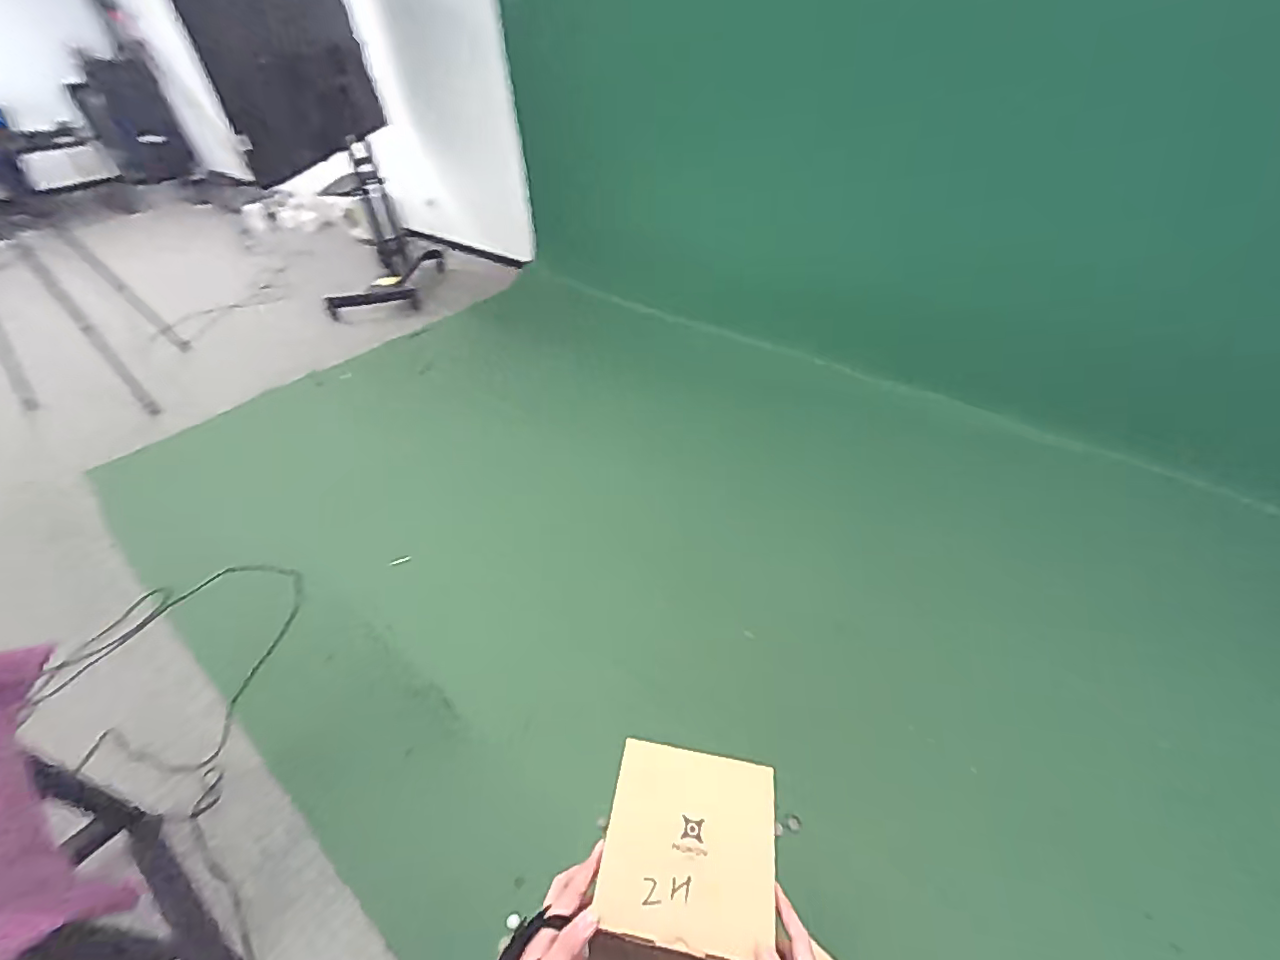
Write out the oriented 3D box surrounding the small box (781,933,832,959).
[{"bbox_3d":[0.349,1.093,1.110,0.168,0.176,0.179,31,53,31],"label":"small box"}]
